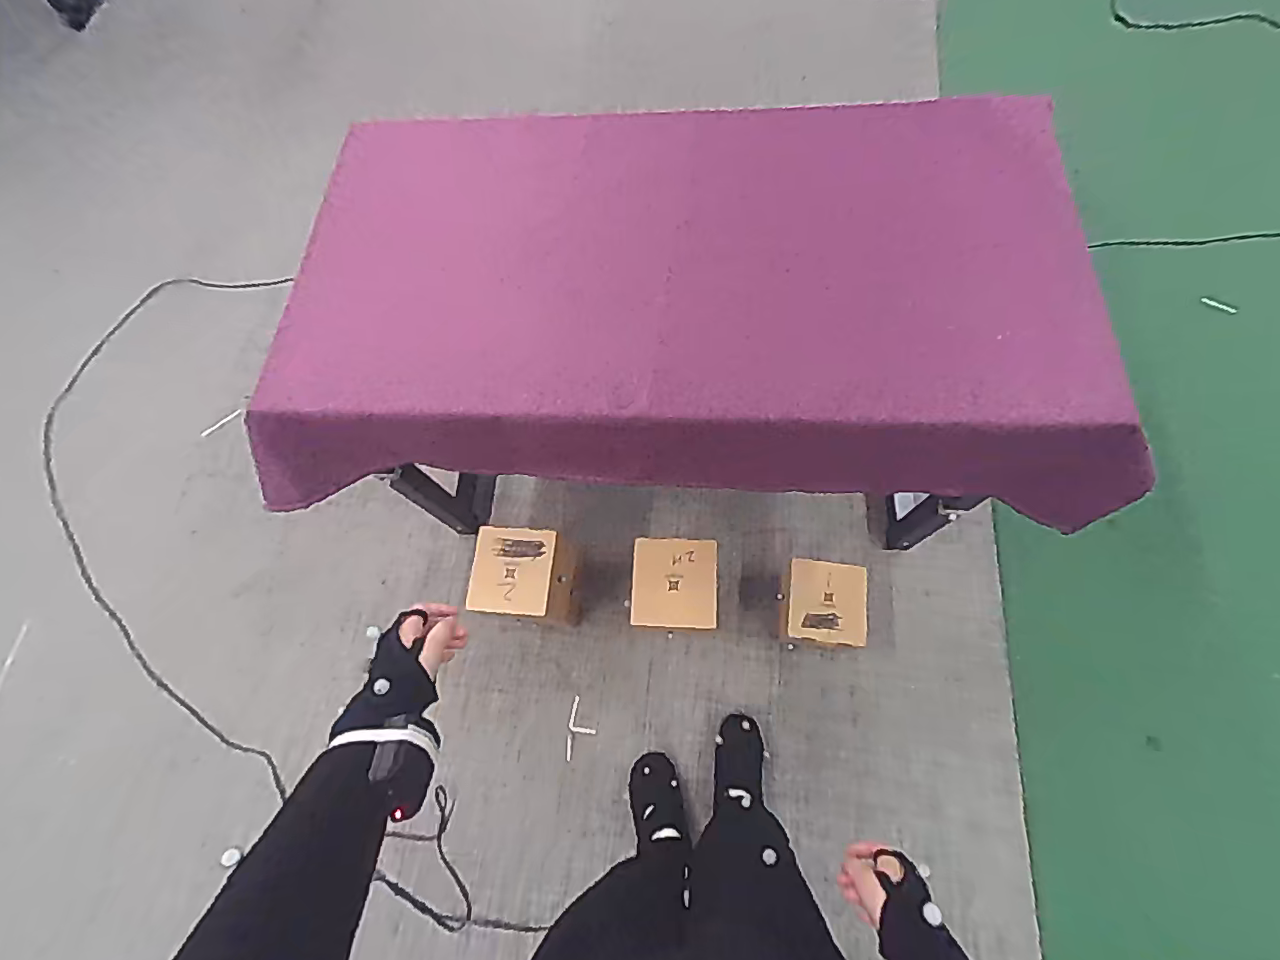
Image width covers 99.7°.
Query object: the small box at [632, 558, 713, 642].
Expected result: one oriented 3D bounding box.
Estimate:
[{"bbox_3d":[0.082,0.291,1.292,0.179,0.176,0.168,3,69,6],"label":"small box"}]
